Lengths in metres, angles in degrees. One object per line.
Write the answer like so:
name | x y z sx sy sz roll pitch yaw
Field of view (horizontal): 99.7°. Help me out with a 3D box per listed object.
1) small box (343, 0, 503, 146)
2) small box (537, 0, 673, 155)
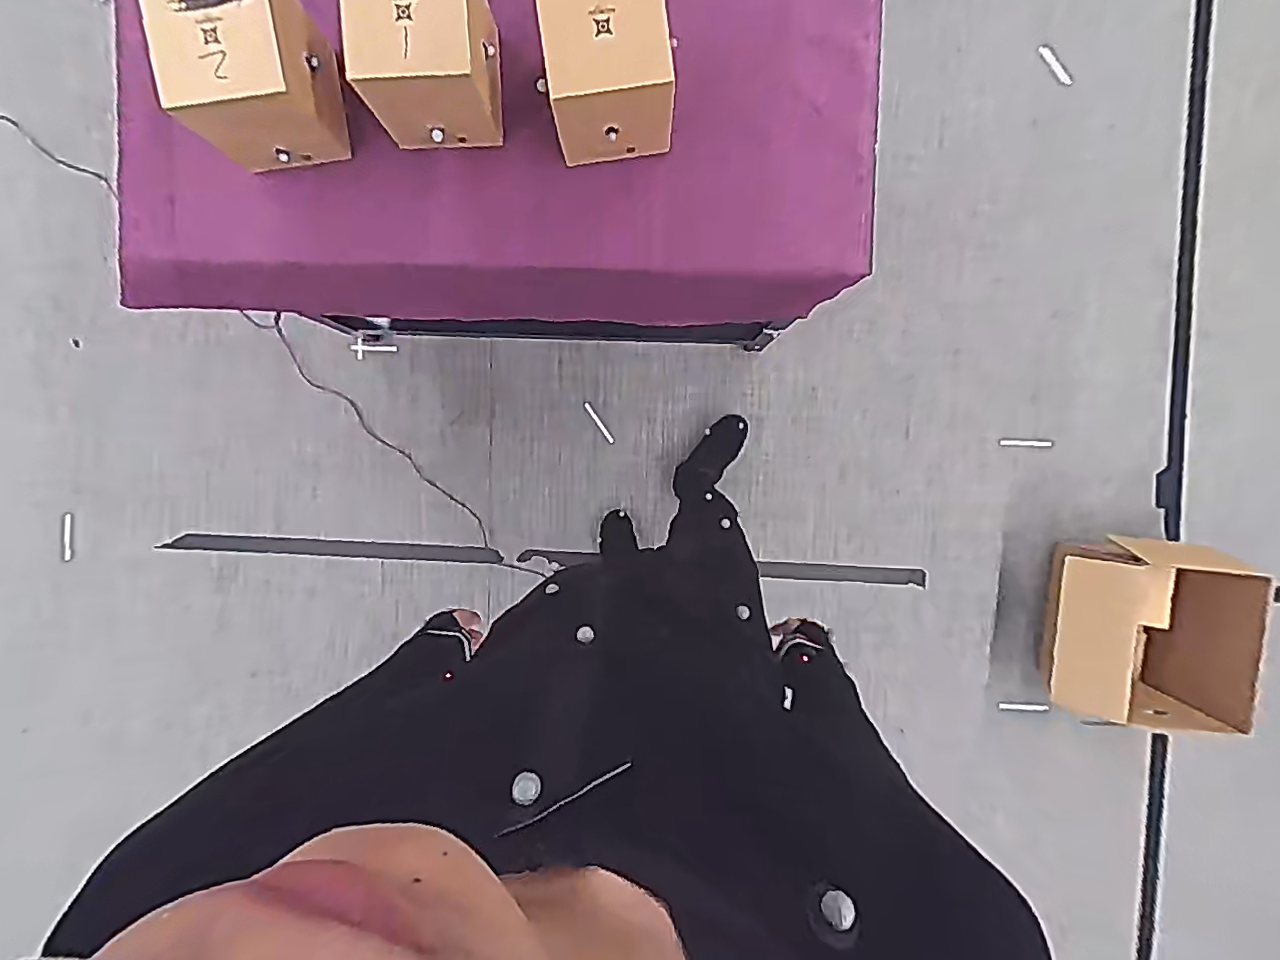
small box | -0.300 -0.614 0.773 0.168 0.176 0.179 -2 94 0
small box | -0.046 -0.595 0.773 0.168 0.176 0.179 -8 92 0
